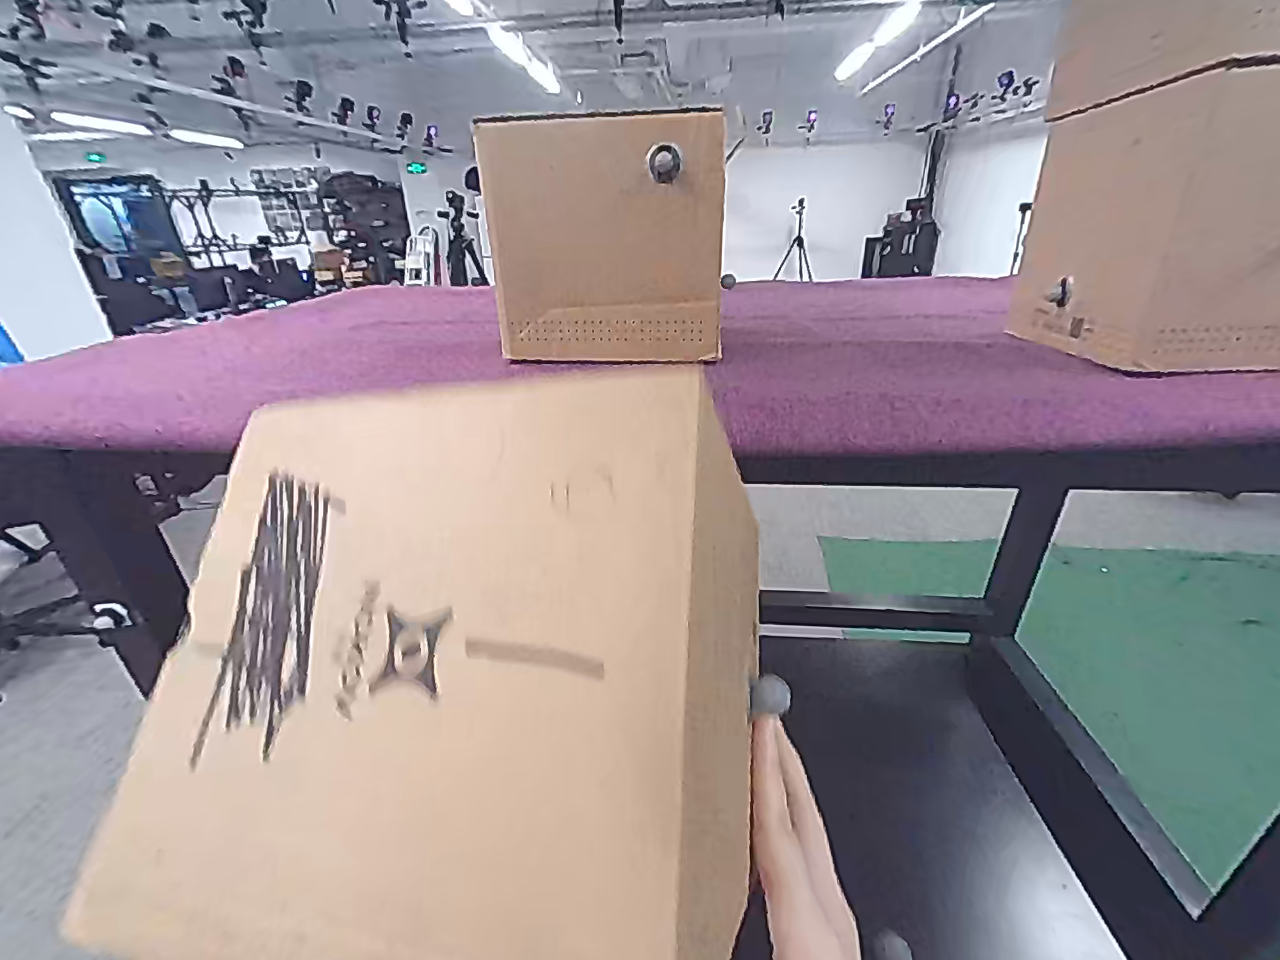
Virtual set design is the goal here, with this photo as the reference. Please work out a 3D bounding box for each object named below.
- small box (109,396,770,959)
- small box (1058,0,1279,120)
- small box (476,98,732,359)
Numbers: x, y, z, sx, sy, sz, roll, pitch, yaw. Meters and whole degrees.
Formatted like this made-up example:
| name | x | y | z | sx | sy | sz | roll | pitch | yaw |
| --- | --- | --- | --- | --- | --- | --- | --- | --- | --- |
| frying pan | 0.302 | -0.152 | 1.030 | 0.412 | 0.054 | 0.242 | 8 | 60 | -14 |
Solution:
| name | x | y | z | sx | sy | sz | roll | pitch | yaw |
| --- | --- | --- | --- | --- | --- | --- | --- | --- | --- |
| small box | -0.042 | 0.081 | 0.229 | 0.179 | 0.176 | 0.168 | -2 | 70 | 17 |
| small box | 0.393 | -0.327 | 0.311 | 0.168 | 0.176 | 0.179 | 1 | 25 | 7 |
| small box | -0.015 | -0.202 | 0.459 | 0.179 | 0.176 | 0.168 | 2 | 26 | 6 |
